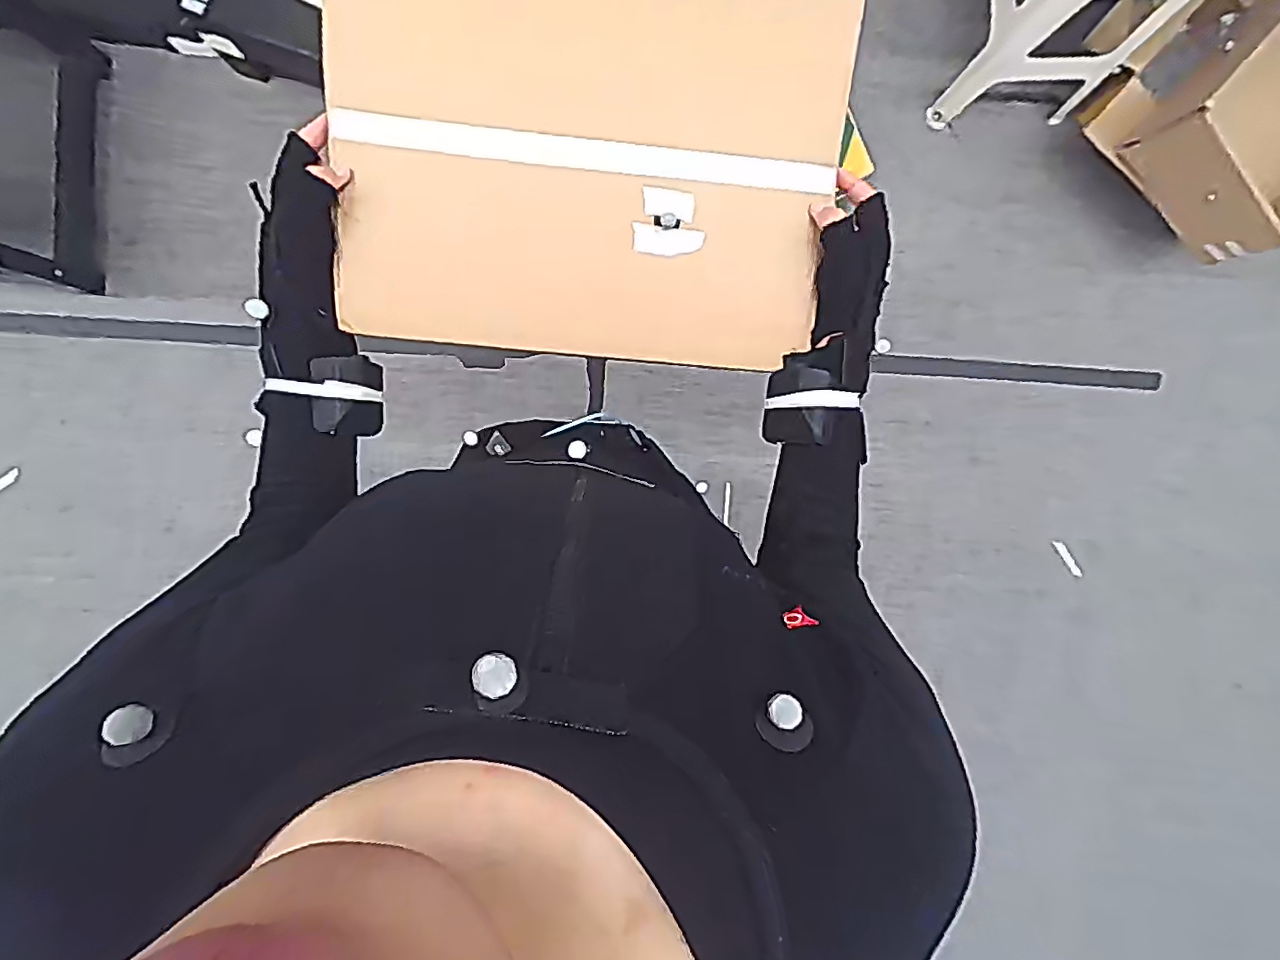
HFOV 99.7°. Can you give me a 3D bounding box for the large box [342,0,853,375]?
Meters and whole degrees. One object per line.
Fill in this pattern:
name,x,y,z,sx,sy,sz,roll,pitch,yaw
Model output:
large box,-0.049,-0.291,0.591,0.408,0.320,0.320,4,104,-5
